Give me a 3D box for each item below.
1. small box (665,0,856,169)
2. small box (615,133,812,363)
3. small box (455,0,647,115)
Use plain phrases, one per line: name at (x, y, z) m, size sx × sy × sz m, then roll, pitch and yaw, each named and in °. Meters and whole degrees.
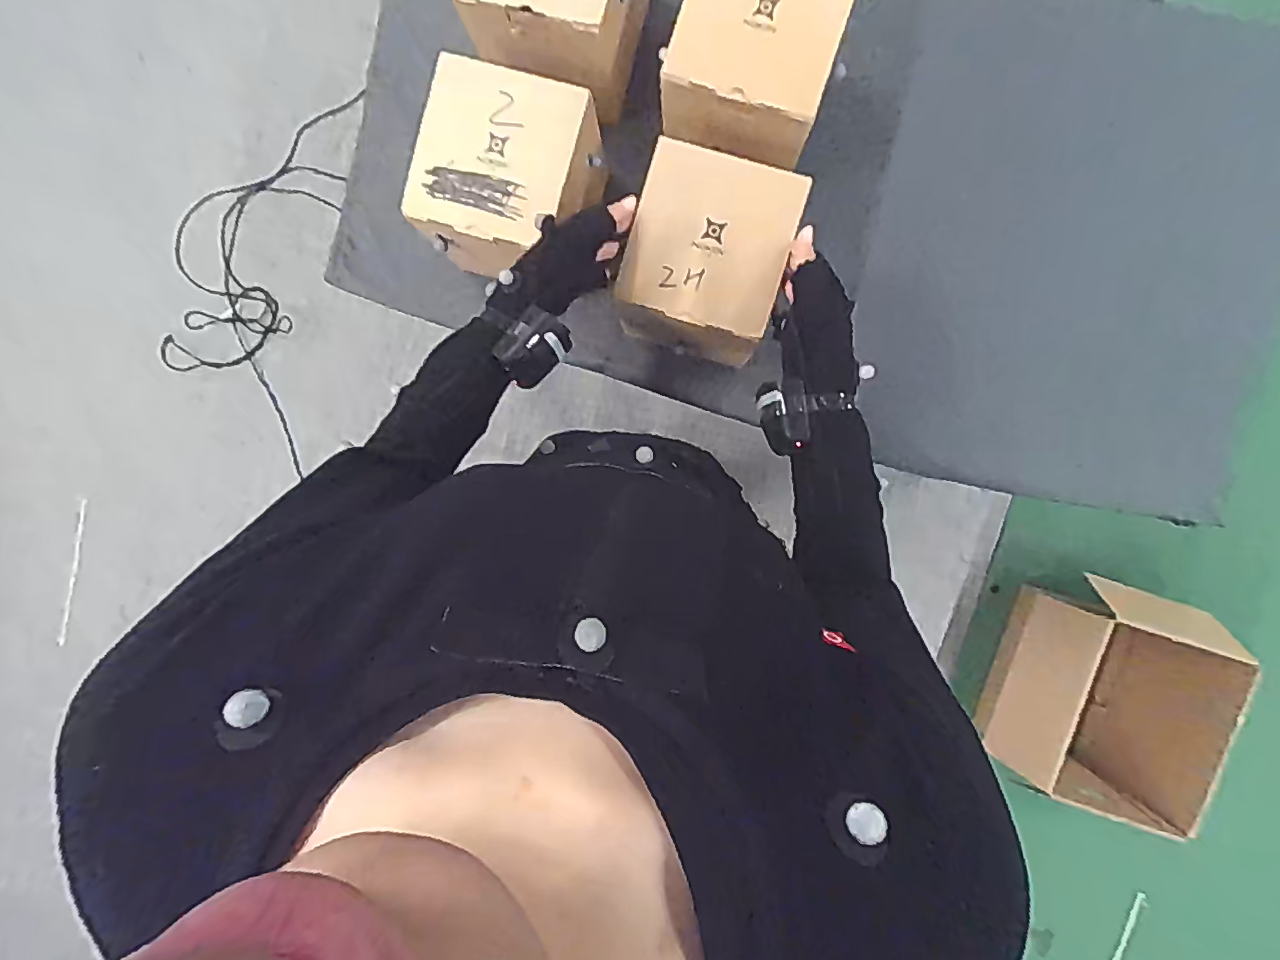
small box at (0.131, -0.479, 0.623) m, size 0.168 × 0.176 × 0.179 m, roll 18°, pitch 96°, yaw 2°
small box at (0.079, -0.255, 0.638) m, size 0.168 × 0.176 × 0.179 m, roll 17°, pitch 94°, yaw 3°
small box at (-0.091, -0.571, 0.629) m, size 0.168 × 0.176 × 0.179 m, roll 15°, pitch 95°, yaw 2°
